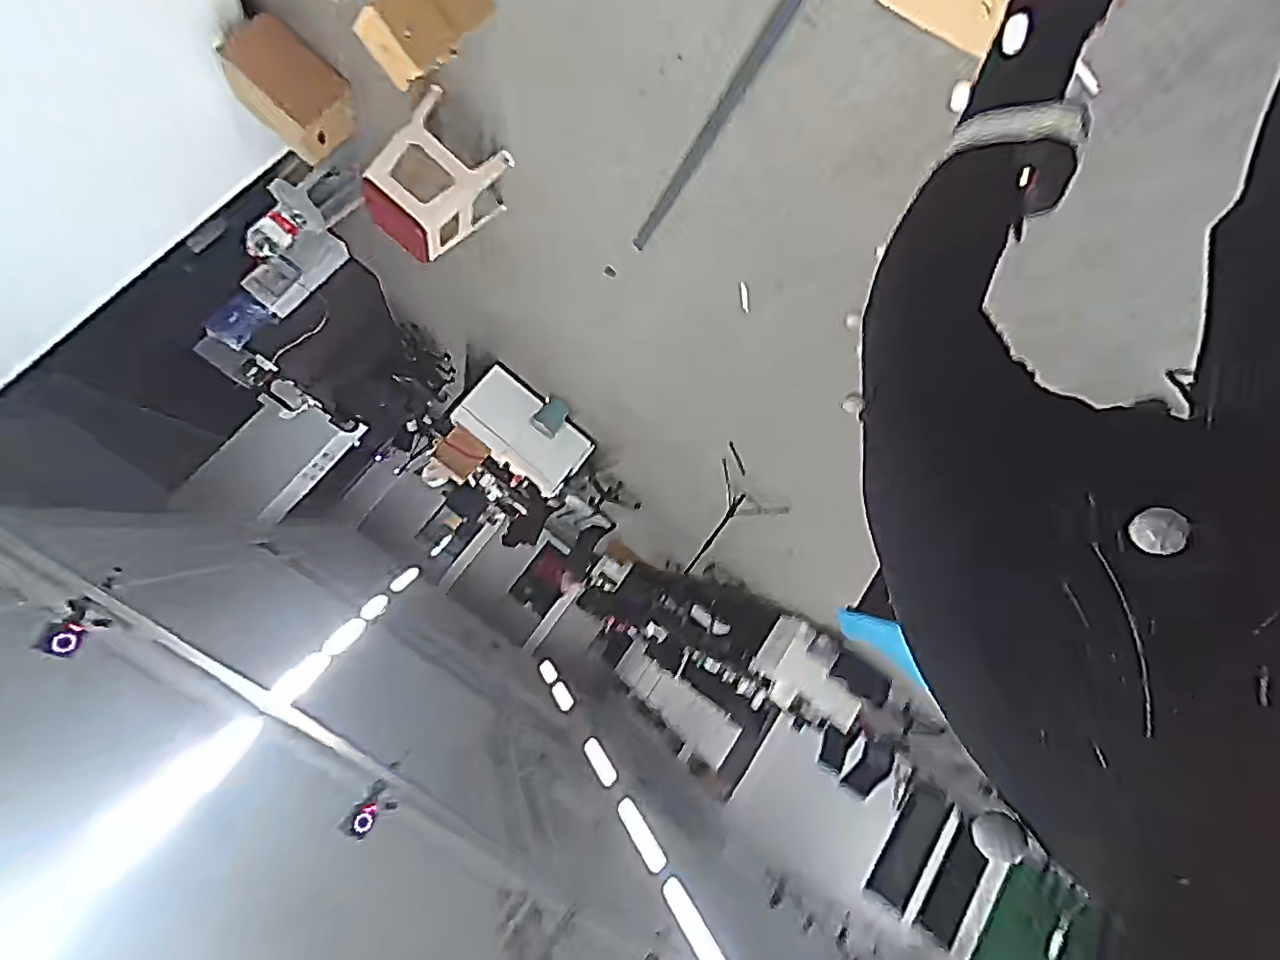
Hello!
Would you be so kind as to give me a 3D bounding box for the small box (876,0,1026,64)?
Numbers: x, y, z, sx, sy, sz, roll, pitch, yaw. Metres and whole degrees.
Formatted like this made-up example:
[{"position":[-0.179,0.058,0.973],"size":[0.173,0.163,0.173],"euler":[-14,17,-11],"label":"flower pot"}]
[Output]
[{"position":[0.447,-0.699,0.688],"size":[0.179,0.176,0.168],"euler":[35,167,2],"label":"small box"}]
